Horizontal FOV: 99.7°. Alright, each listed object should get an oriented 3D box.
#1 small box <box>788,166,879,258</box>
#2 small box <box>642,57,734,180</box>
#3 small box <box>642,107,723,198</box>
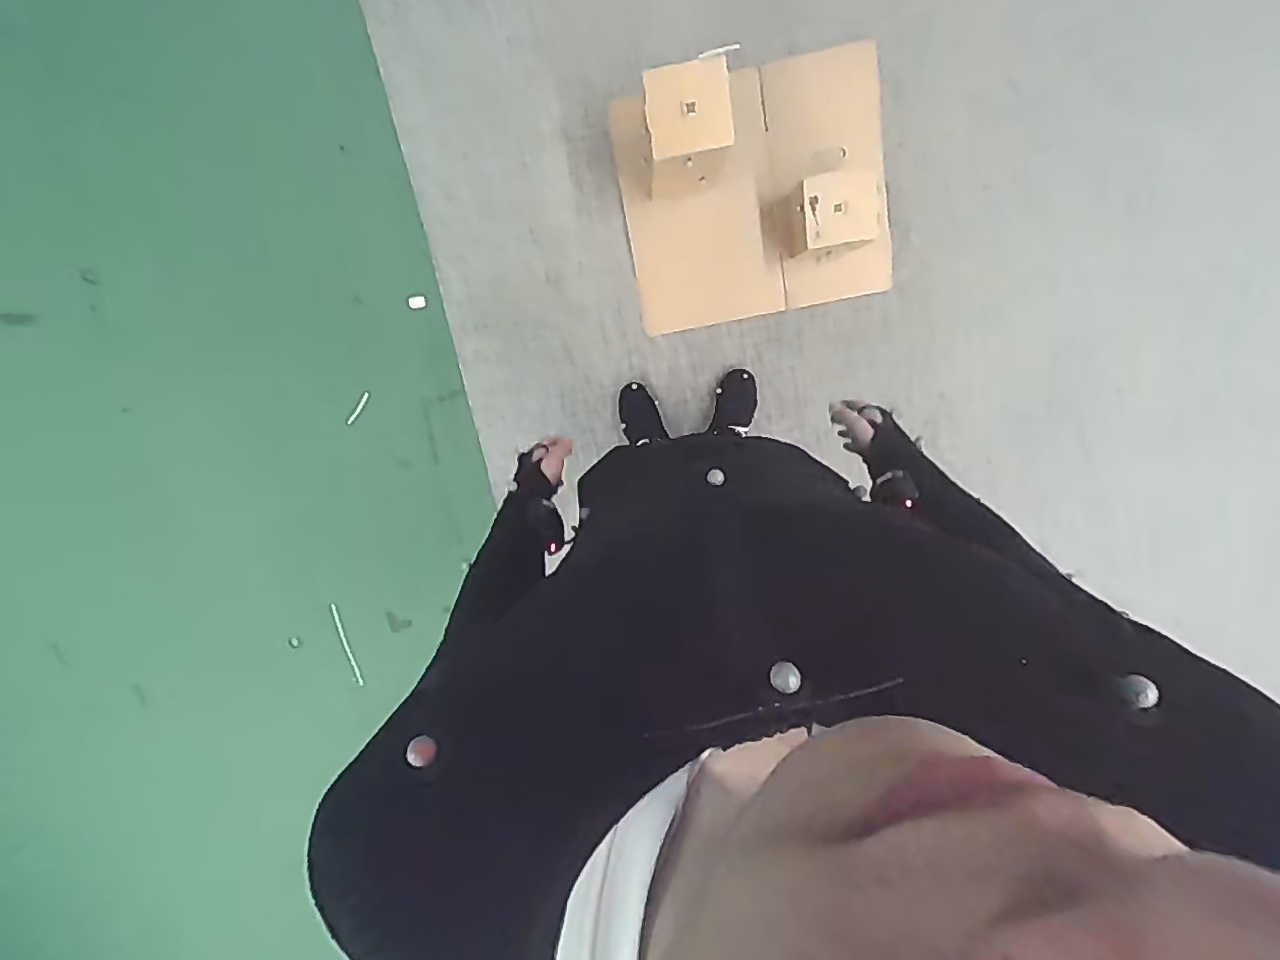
[{"bbox_3d":[0.486,-0.672,1.373,0.179,0.176,0.168,-7,104,4],"label":"small box"},{"bbox_3d":[0.102,-0.784,1.190,0.179,0.176,0.168,-8,104,5],"label":"small box"},{"bbox_3d":[0.102,-0.822,1.347,0.179,0.176,0.168,-8,103,5],"label":"small box"}]
